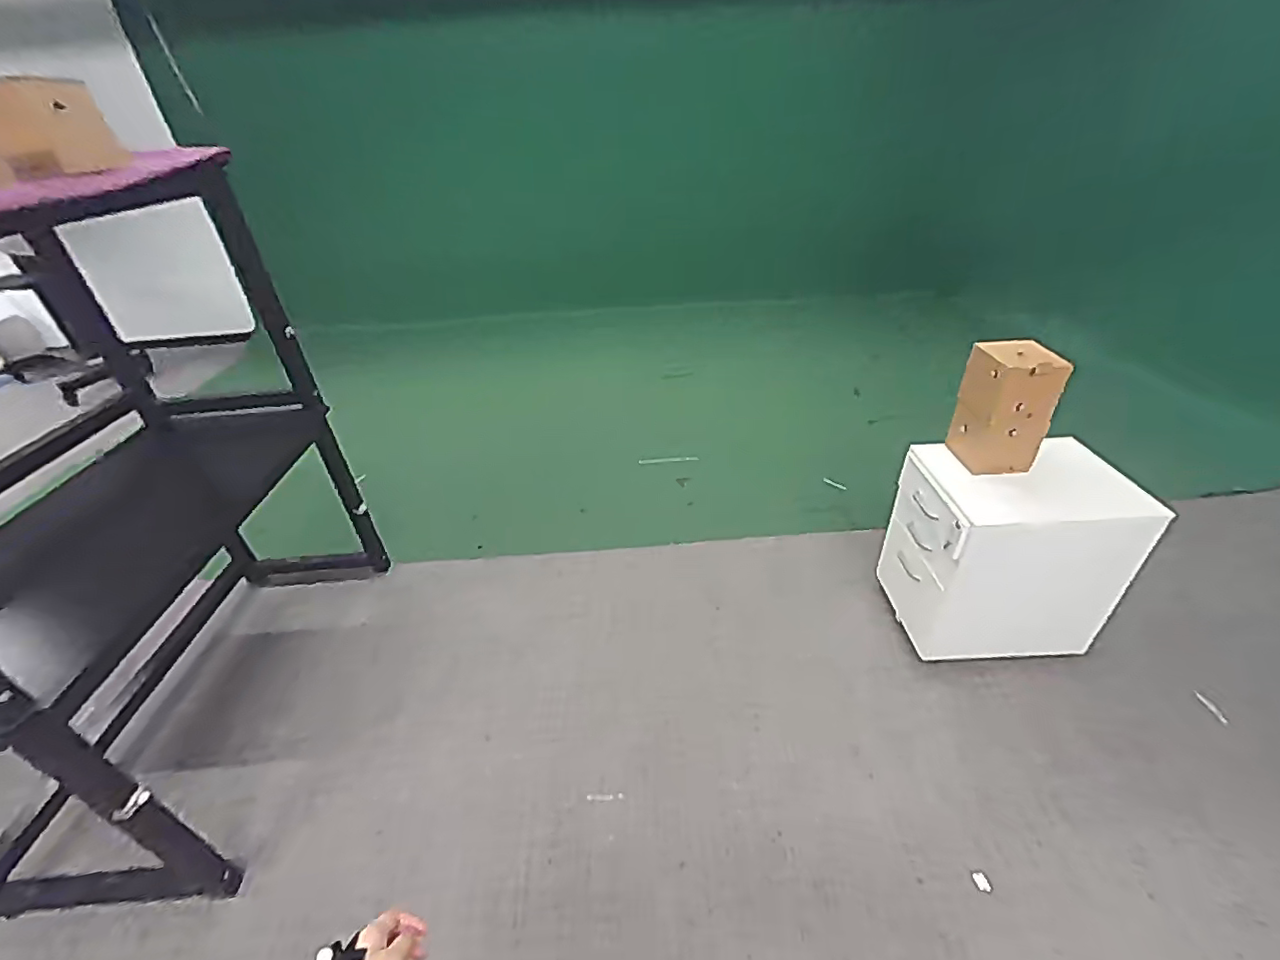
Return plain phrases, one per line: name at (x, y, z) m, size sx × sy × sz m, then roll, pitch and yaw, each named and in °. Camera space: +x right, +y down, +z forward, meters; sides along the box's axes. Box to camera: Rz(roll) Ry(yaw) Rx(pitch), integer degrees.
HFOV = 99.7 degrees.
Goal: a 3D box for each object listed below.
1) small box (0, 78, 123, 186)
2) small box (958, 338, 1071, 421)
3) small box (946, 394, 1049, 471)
small box at (-1.259, -0.723, 1.129) m, size 0.168 × 0.176 × 0.179 m, roll -6°, pitch 35°, yaw 2°
small box at (1.010, -0.276, 1.480) m, size 0.168 × 0.176 × 0.179 m, roll -3°, pitch 37°, yaw 0°
small box at (1.025, -0.142, 1.571) m, size 0.168 × 0.176 × 0.179 m, roll -4°, pitch 35°, yaw 1°
